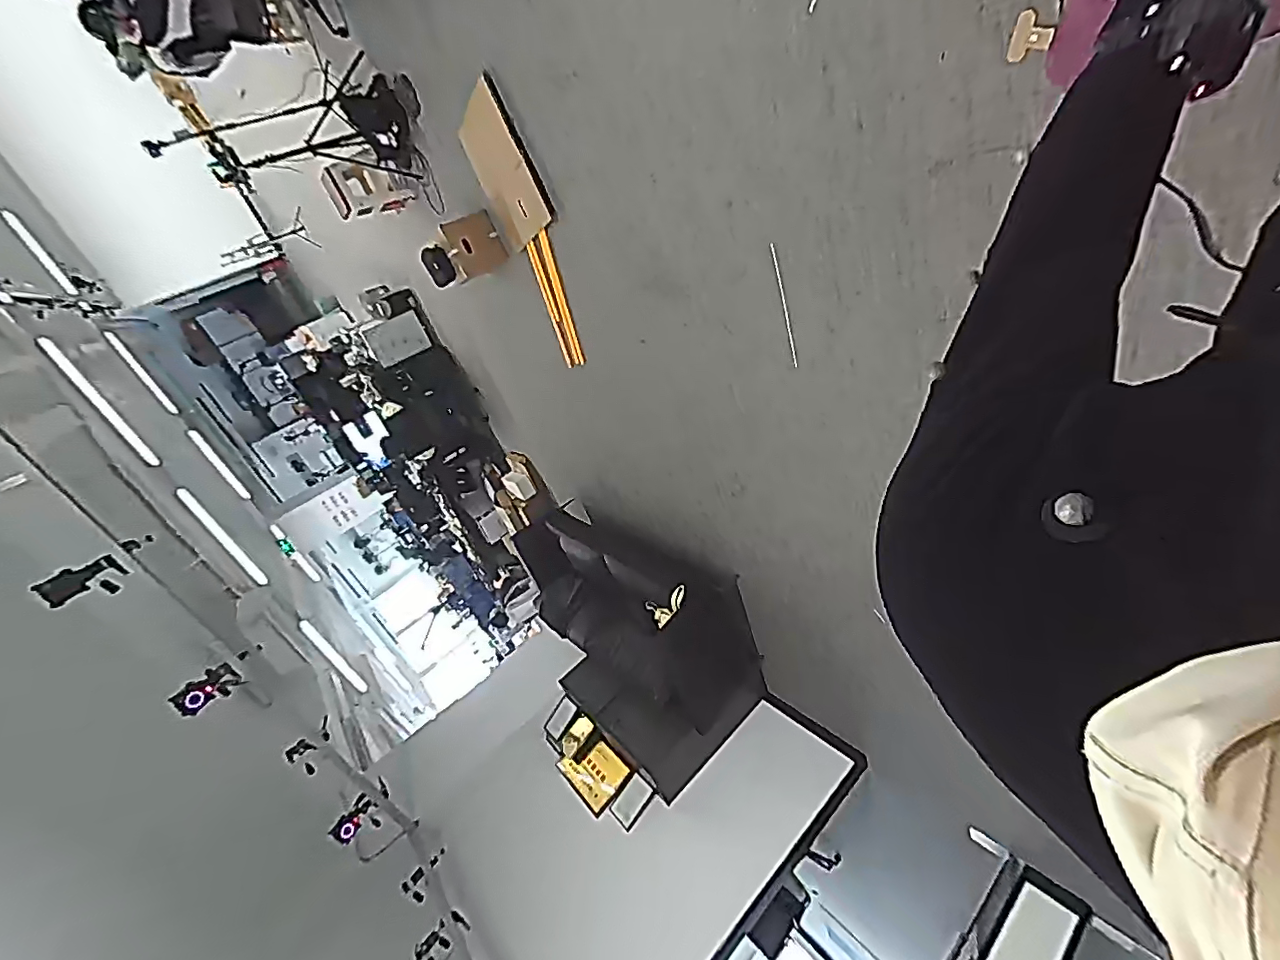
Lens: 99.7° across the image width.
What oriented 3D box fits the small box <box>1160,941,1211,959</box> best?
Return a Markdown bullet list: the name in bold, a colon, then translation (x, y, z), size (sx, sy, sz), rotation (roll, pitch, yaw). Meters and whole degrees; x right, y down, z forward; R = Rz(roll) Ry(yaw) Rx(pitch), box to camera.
- **small box**: translation (1.204, 1.142, 1.150), size (0.168, 0.176, 0.179), rotation (25, 143, 48)
